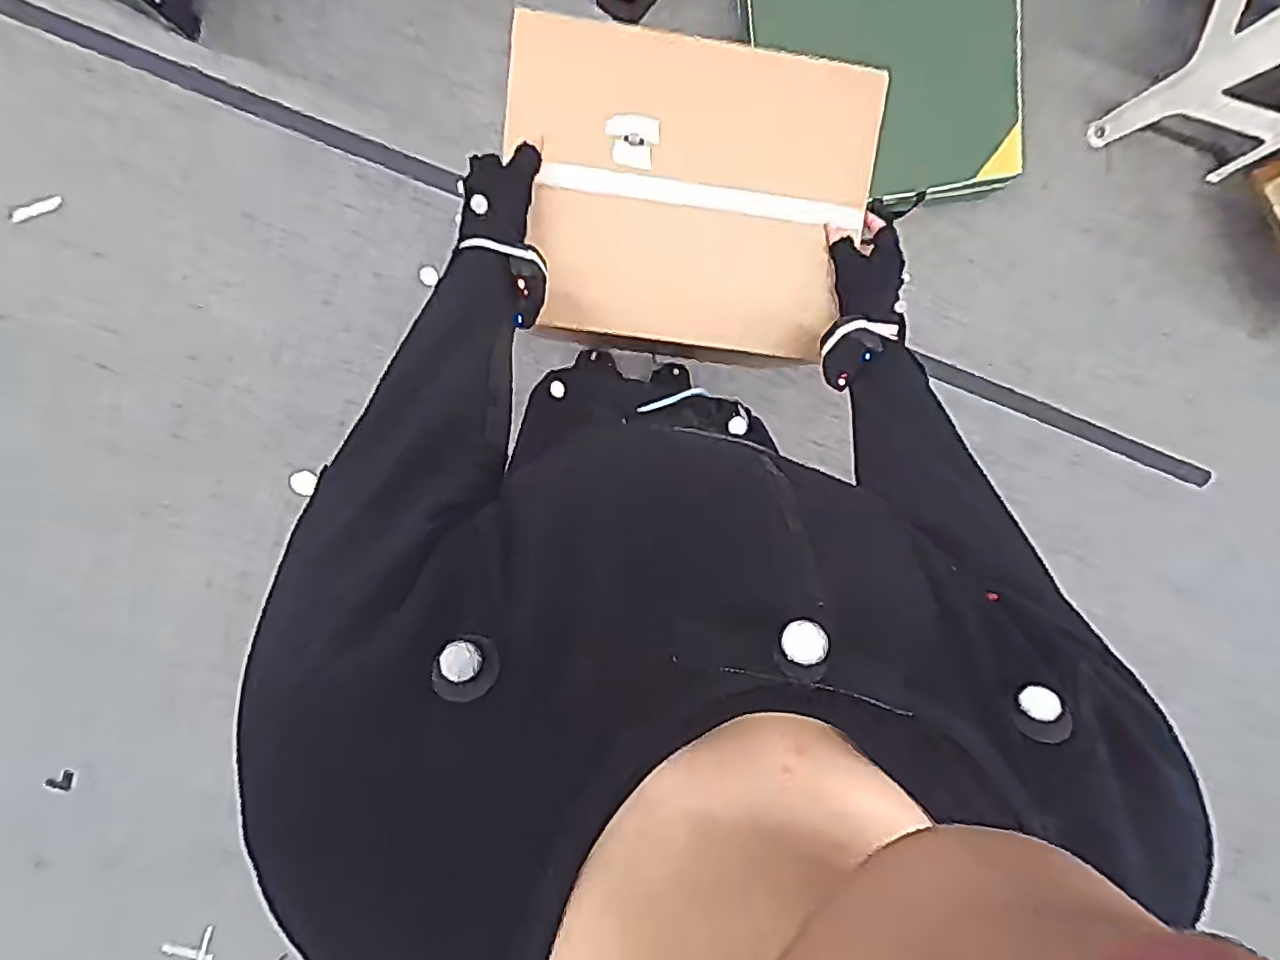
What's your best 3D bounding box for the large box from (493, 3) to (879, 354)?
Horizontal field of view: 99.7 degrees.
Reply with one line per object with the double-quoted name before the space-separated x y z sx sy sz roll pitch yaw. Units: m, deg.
"large box" 0.043 -0.355 0.747 0.408 0.320 0.320 8 99 -3
